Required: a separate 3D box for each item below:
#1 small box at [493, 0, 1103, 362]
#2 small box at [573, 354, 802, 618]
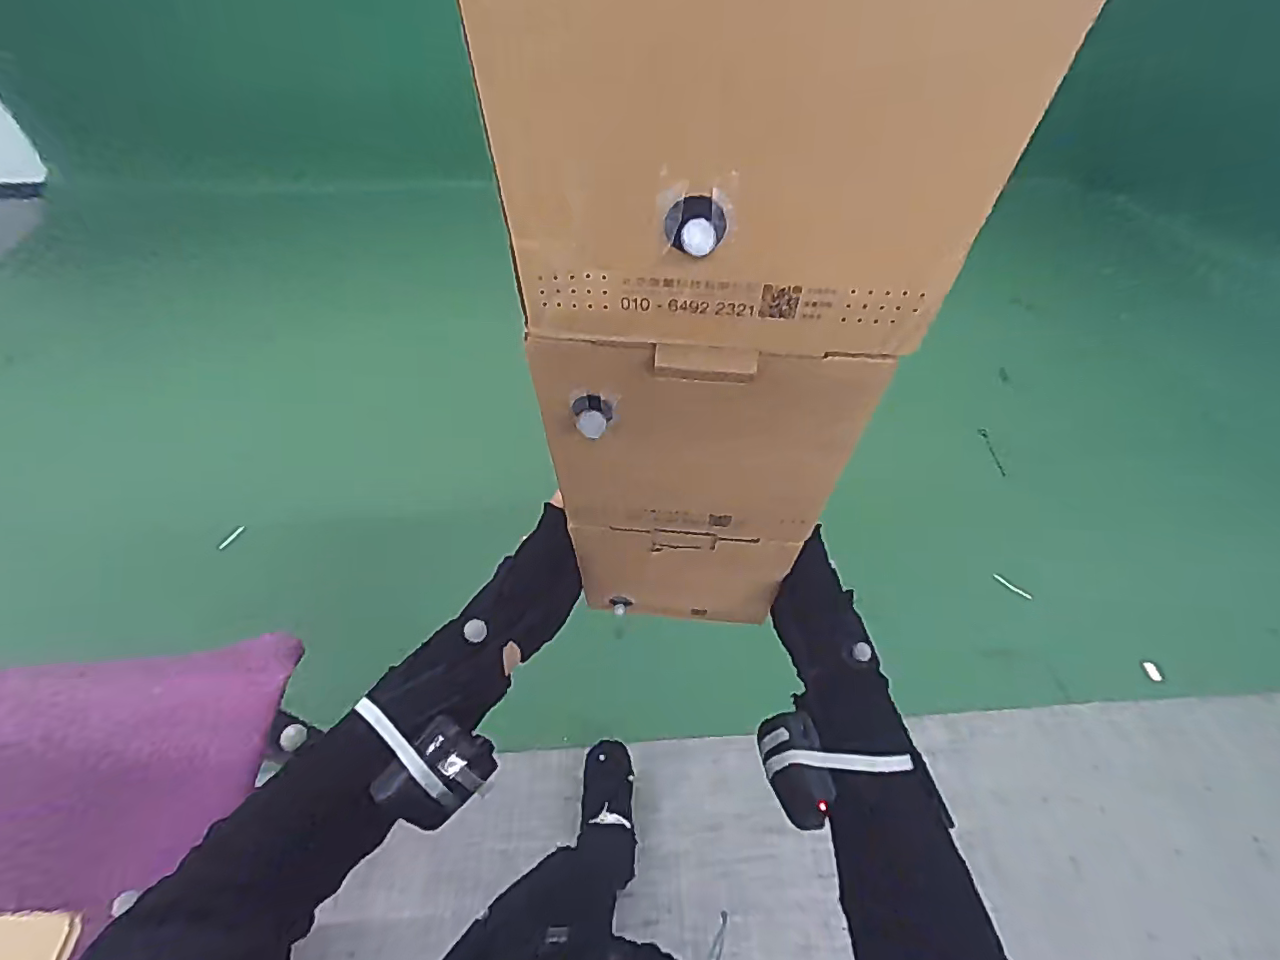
[{"bbox_3d":[0.042,-0.173,0.219,0.168,0.176,0.179,4,57,2],"label":"small box"},{"bbox_3d":[0.044,0.012,0.489,0.168,0.176,0.179,5,56,4],"label":"small box"}]
